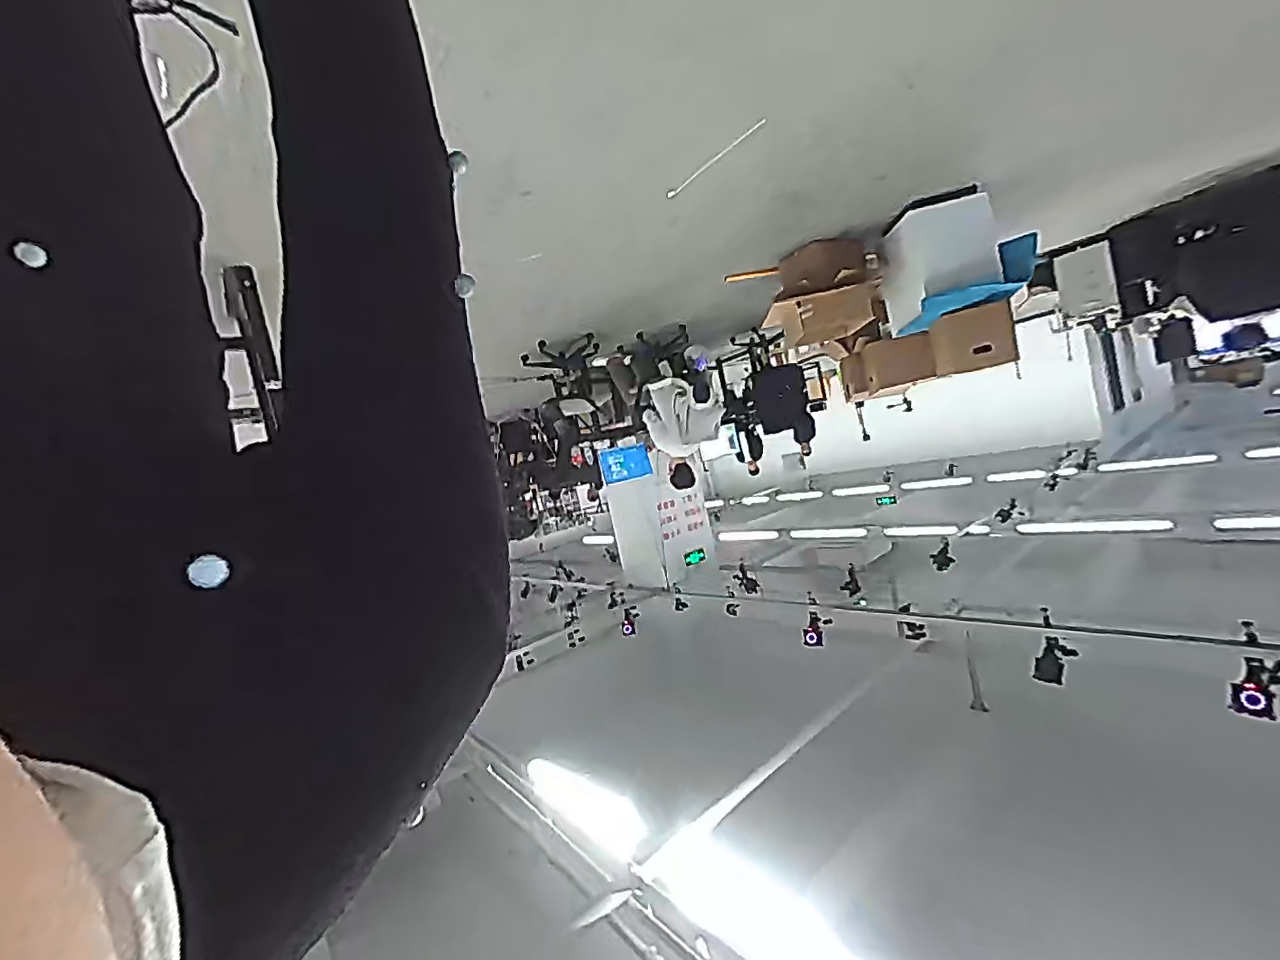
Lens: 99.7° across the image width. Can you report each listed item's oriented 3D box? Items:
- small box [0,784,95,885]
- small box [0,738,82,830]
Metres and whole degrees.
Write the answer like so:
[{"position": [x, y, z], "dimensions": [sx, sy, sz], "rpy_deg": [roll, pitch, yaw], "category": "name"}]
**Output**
[{"position": [-1.796, 1.060, 1.637], "dimensions": [0.168, 0.176, 0.179], "rpy_deg": [-15, -176, -40], "category": "small box"}, {"position": [-1.828, 0.899, 1.620], "dimensions": [0.179, 0.176, 0.168], "rpy_deg": [-15, -176, -40], "category": "small box"}]
